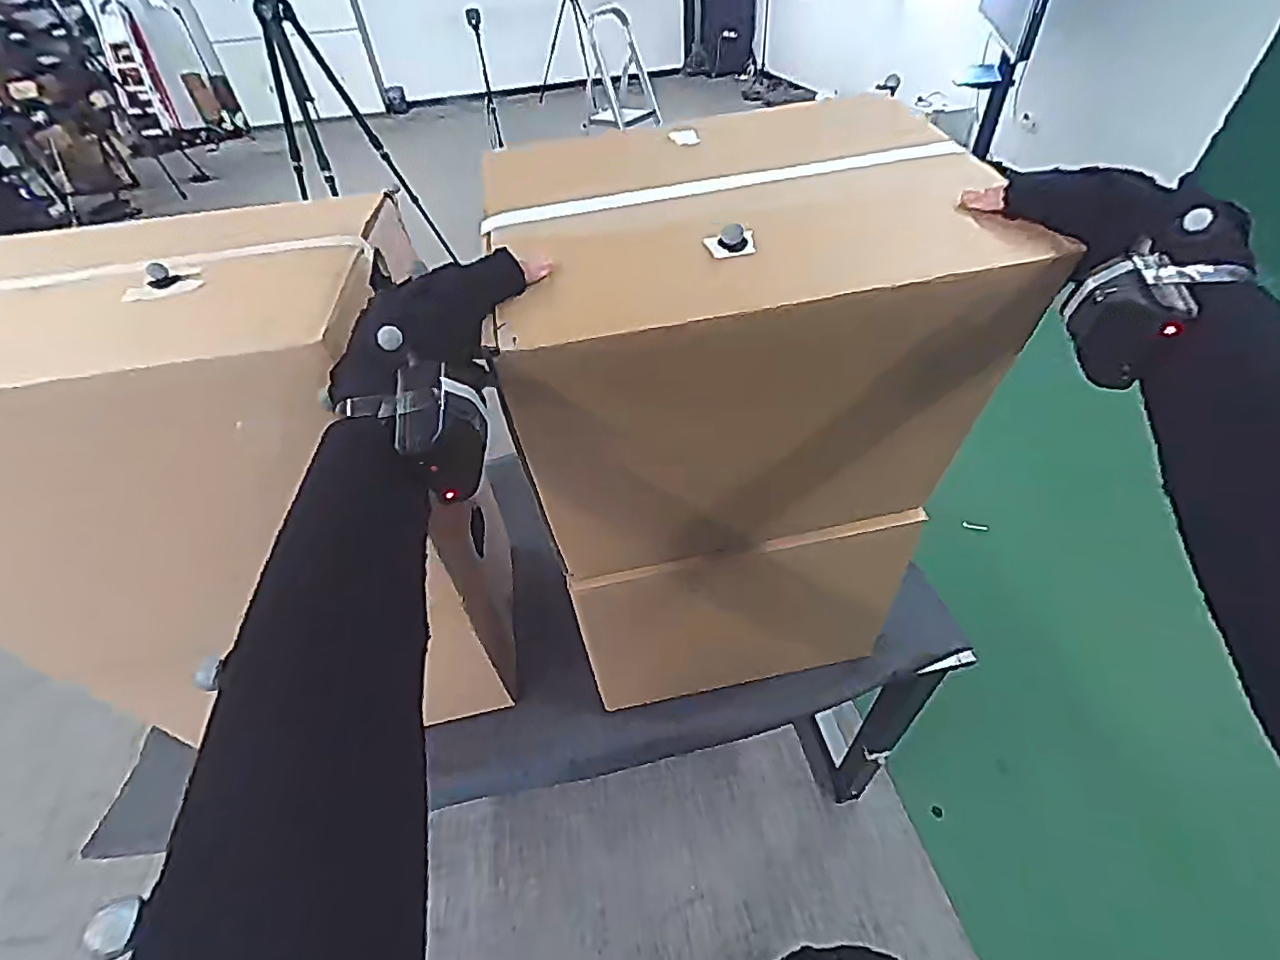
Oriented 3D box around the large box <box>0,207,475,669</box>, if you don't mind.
[{"bbox_3d":[-0.412,-0.051,0.555,0.408,0.320,0.320,-9,46,-6],"label":"large box"}]
